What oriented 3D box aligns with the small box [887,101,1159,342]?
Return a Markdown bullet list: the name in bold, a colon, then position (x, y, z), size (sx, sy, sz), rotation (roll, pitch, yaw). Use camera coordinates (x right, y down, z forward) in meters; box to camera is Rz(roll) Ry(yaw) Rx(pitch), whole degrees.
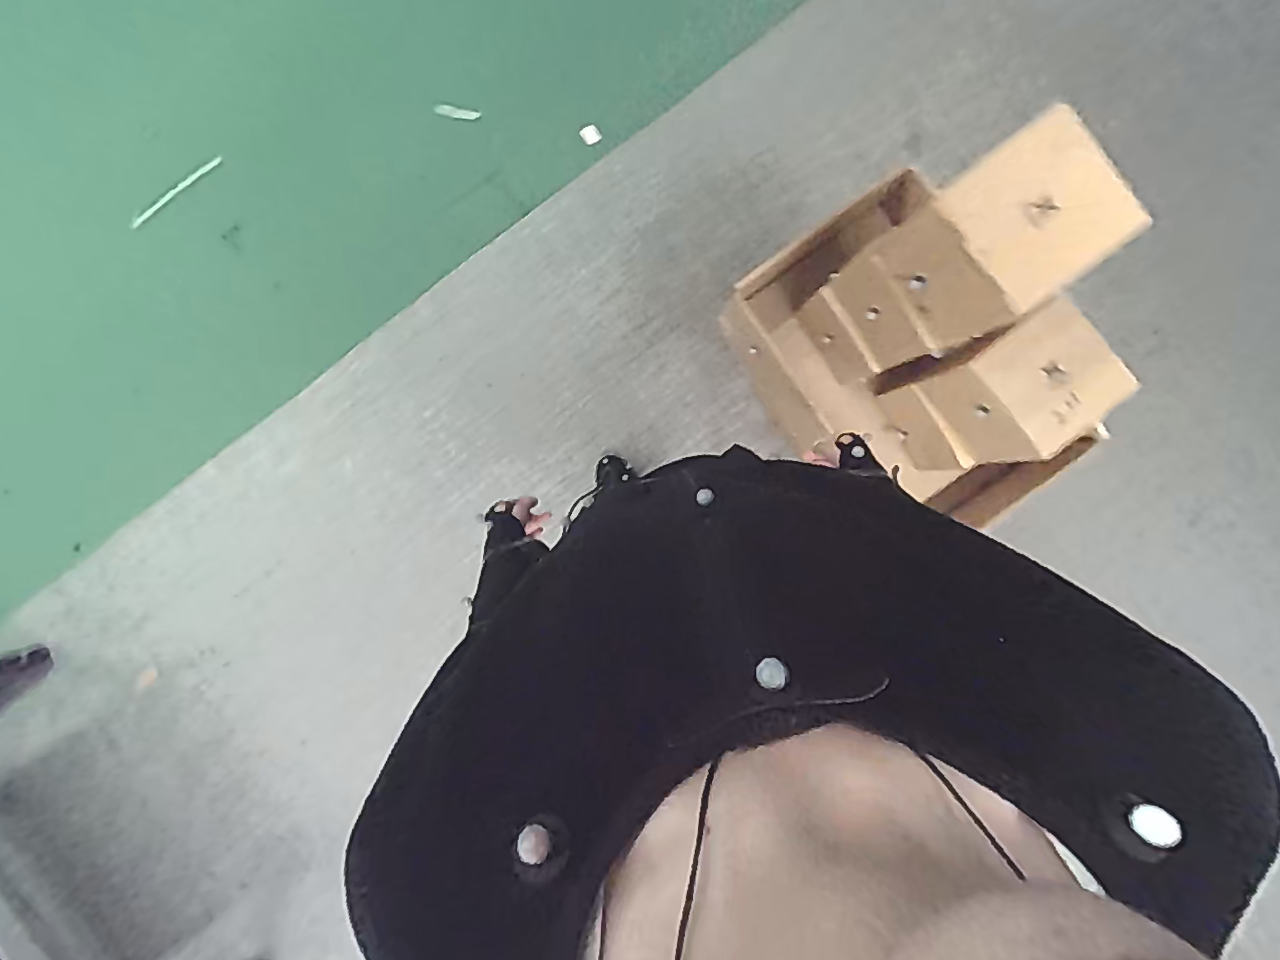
- **small box**: position (0.447, -0.297, 0.664), size (0.179, 0.176, 0.168), rotation (-36, 91, 2)
